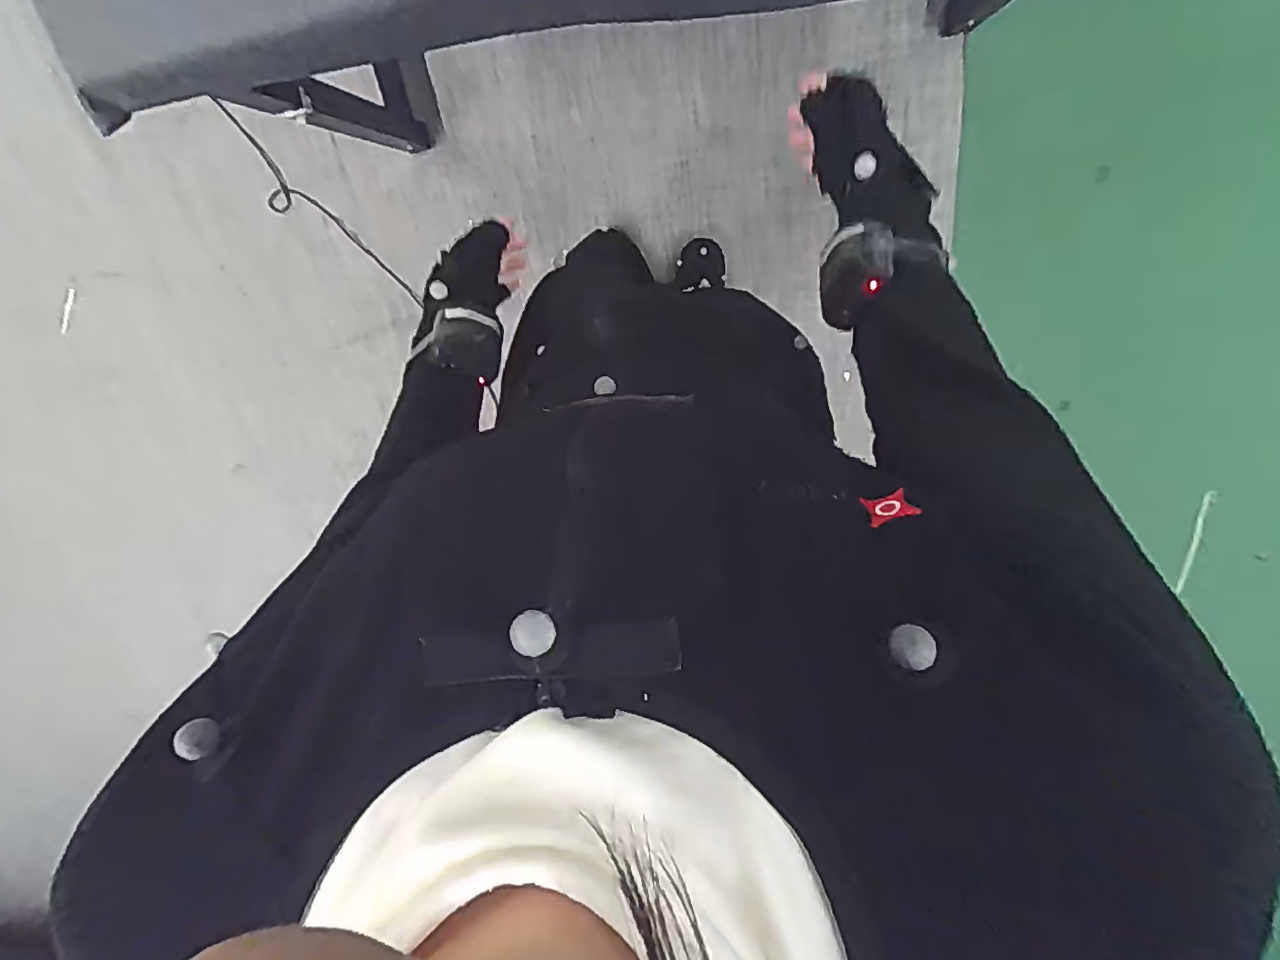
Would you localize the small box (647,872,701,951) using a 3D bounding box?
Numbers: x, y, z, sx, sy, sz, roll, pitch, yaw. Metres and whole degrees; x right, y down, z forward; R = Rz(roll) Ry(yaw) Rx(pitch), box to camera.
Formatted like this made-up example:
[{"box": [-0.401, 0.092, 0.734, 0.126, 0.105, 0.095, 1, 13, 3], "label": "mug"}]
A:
[{"box": [0.129, 1.555, 1.954, 0.179, 0.176, 0.168, -5, 114, 8], "label": "small box"}]

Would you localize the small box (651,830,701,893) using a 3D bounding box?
[{"box": [0.144, 1.497, 2.106, 0.179, 0.176, 0.168, -7, 114, 7], "label": "small box"}]
